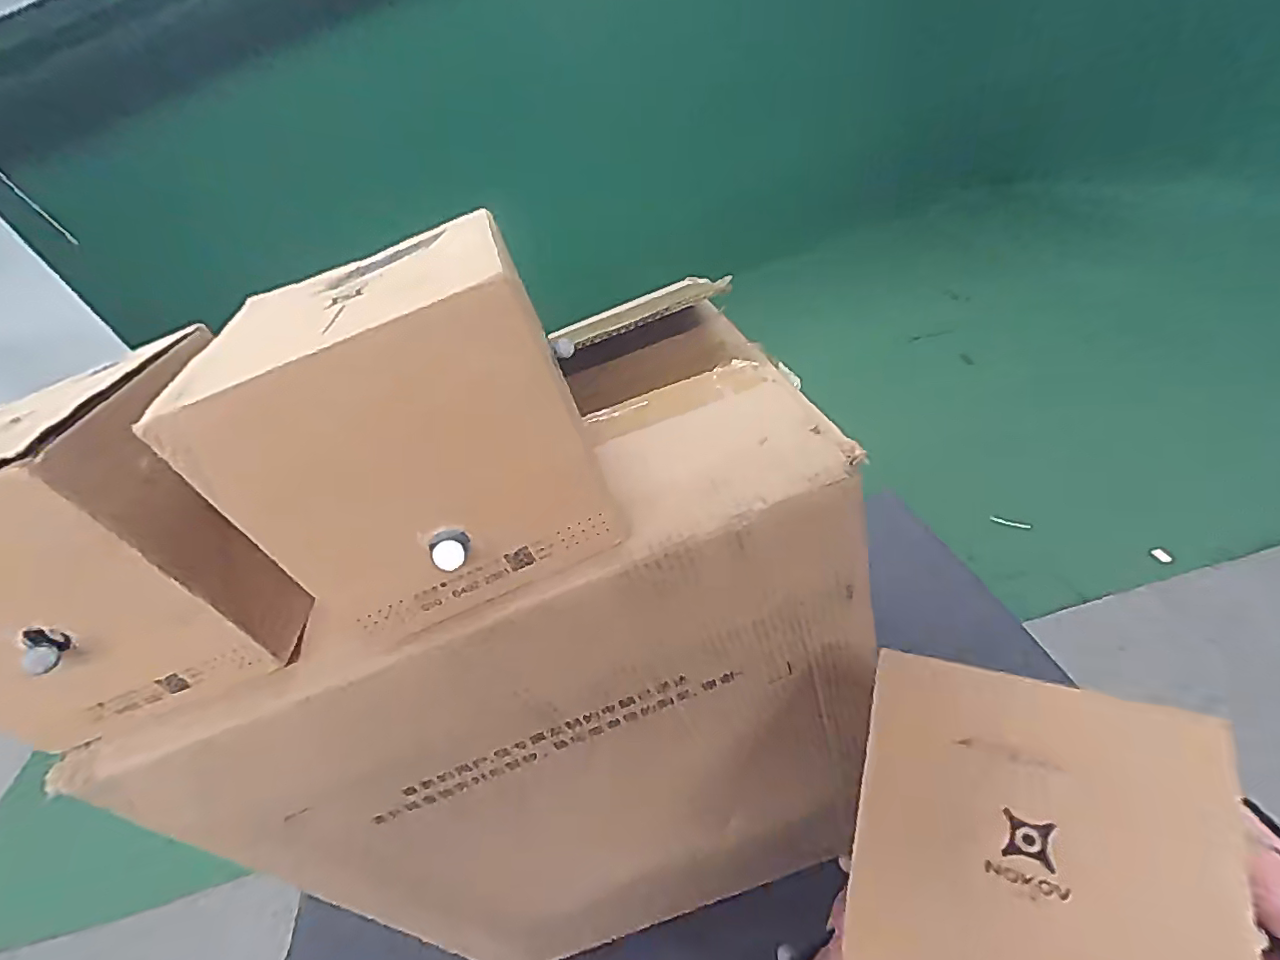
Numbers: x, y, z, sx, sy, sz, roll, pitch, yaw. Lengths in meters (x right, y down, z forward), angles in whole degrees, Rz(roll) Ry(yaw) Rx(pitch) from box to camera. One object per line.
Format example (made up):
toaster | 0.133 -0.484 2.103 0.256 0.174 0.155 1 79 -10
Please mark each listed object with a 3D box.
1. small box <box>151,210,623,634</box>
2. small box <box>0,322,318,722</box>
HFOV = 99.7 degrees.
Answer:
small box | -0.125 -0.041 0.338 0.168 0.176 0.179 -23 39 -2
small box | -0.328 0.031 0.353 0.168 0.176 0.179 -21 38 3
